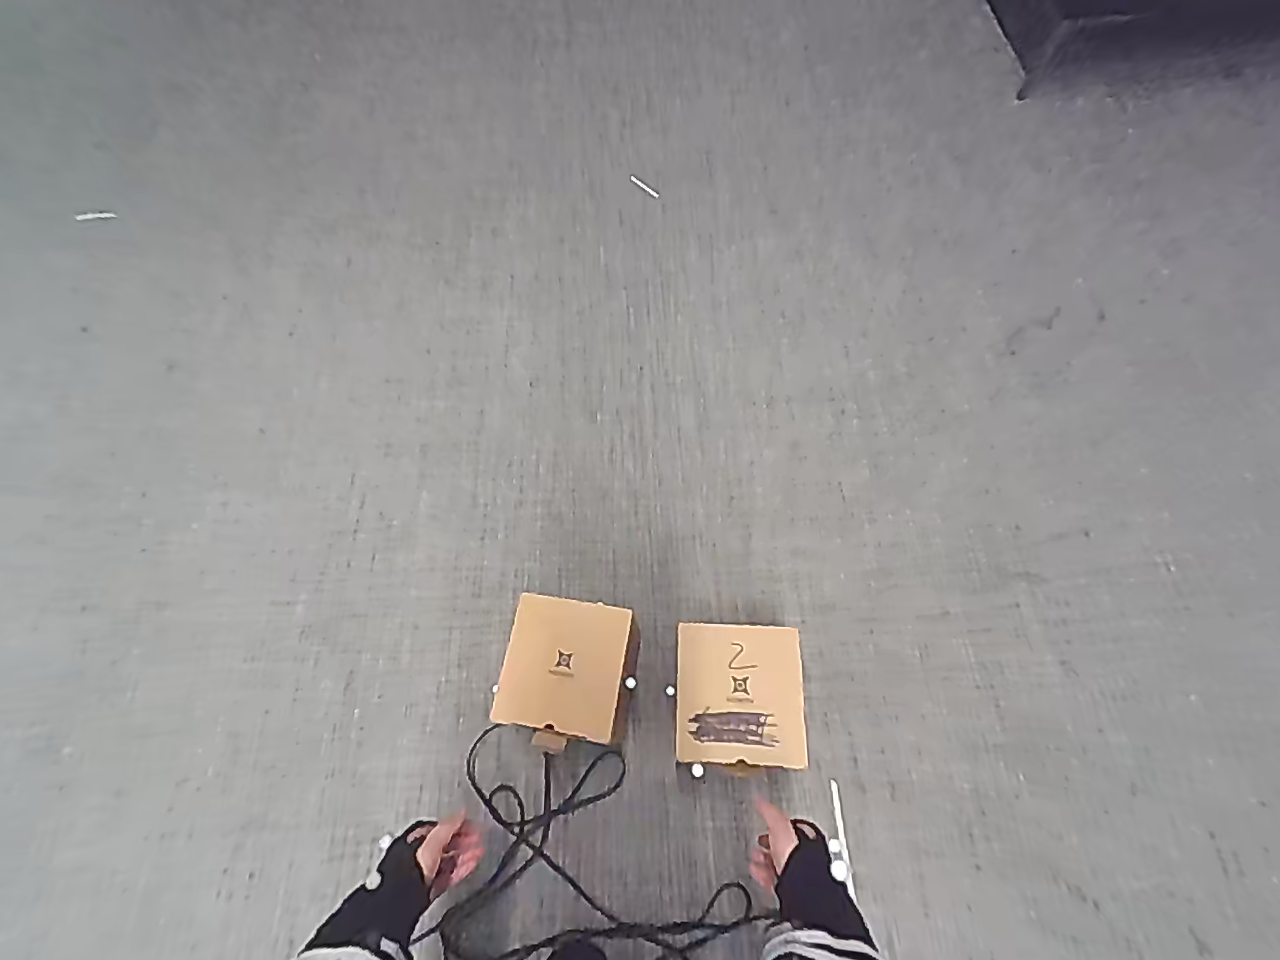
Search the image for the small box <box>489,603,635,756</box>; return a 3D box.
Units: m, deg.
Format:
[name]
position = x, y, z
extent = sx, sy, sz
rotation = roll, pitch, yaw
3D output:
[small box]
position = -0.103, 0.298, 0.809
extent = 0.168, 0.176, 0.179
rotation = 8, 67, 7
